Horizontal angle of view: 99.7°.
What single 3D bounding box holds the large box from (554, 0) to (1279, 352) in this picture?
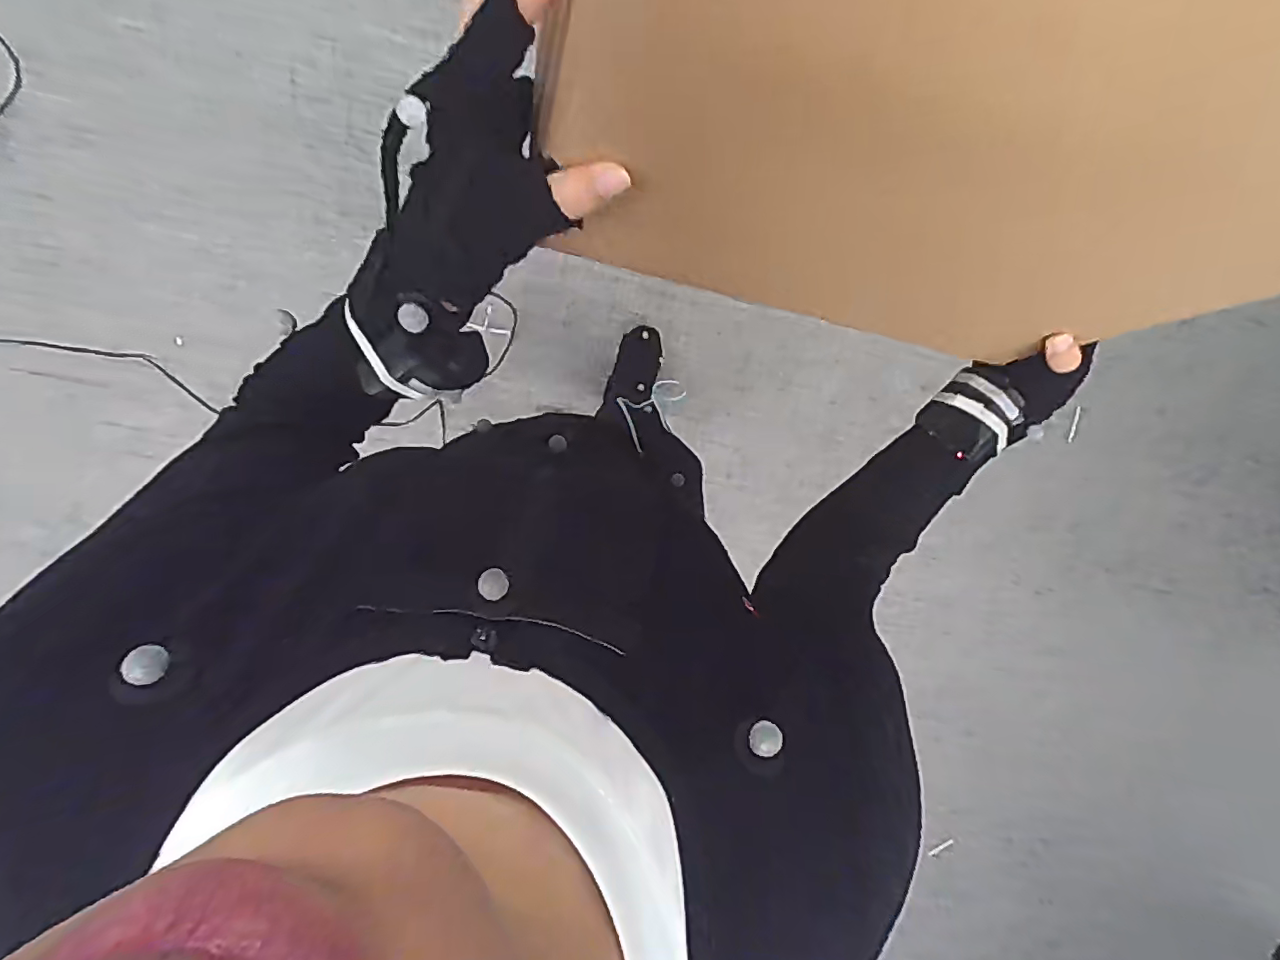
[{"bbox_3d":[0.195,-0.278,0.256,0.408,0.320,0.320,5,85,-25],"label":"large box"}]
